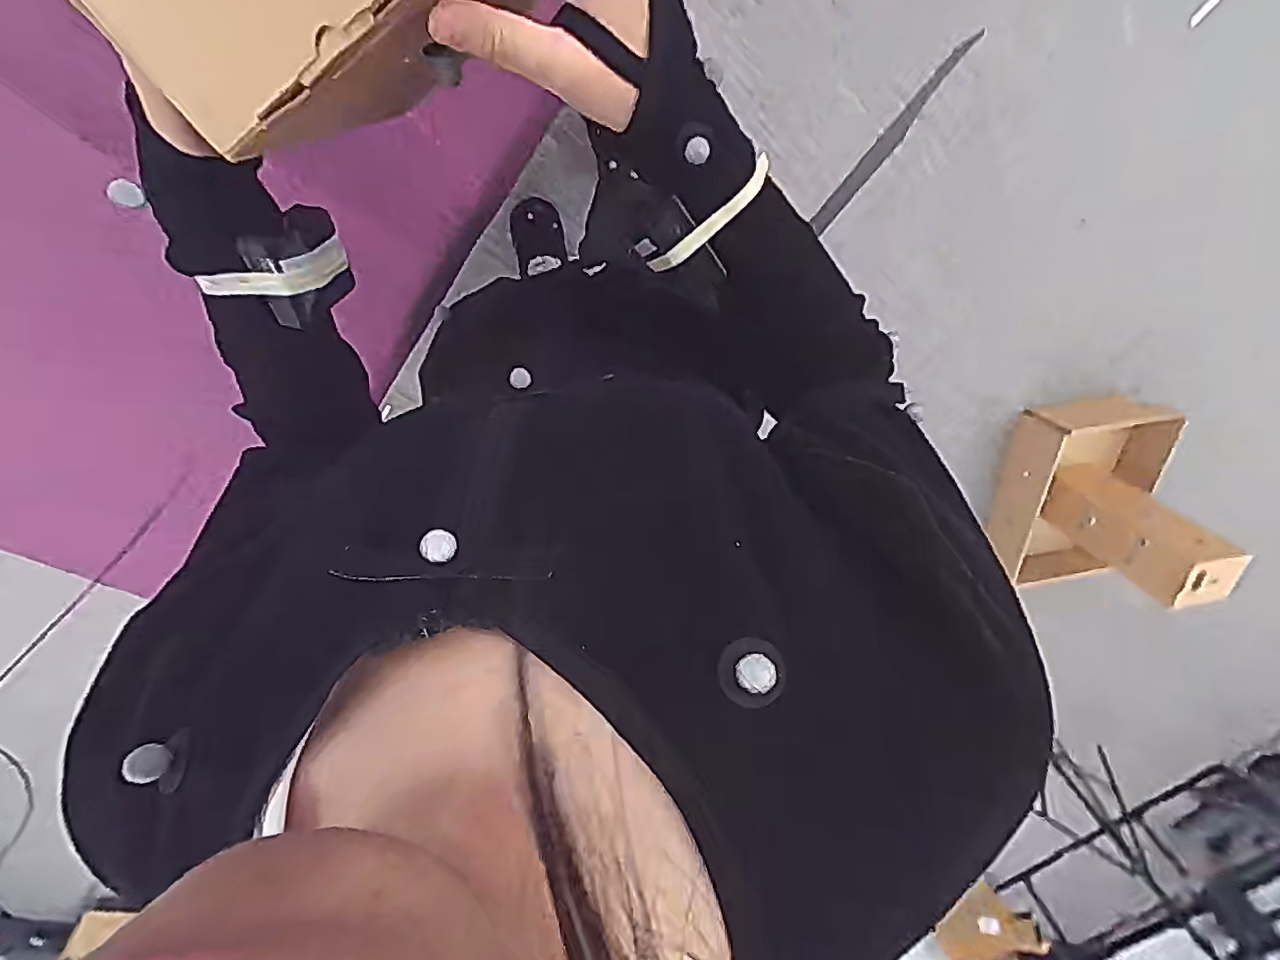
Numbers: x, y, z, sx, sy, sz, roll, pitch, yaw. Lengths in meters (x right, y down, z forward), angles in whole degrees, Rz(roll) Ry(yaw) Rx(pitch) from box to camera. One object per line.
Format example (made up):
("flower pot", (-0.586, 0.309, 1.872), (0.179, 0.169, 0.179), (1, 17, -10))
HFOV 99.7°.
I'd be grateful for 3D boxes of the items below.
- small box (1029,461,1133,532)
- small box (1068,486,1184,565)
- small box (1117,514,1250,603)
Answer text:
("small box", (1.450, 0.050, 1.789), (0.179, 0.176, 0.168), (-7, 121, -6))
("small box", (1.476, 0.133, 1.653), (0.179, 0.176, 0.168), (-7, 121, -5))
("small box", (1.505, 0.215, 1.513), (0.179, 0.176, 0.168), (-9, 122, -6))
